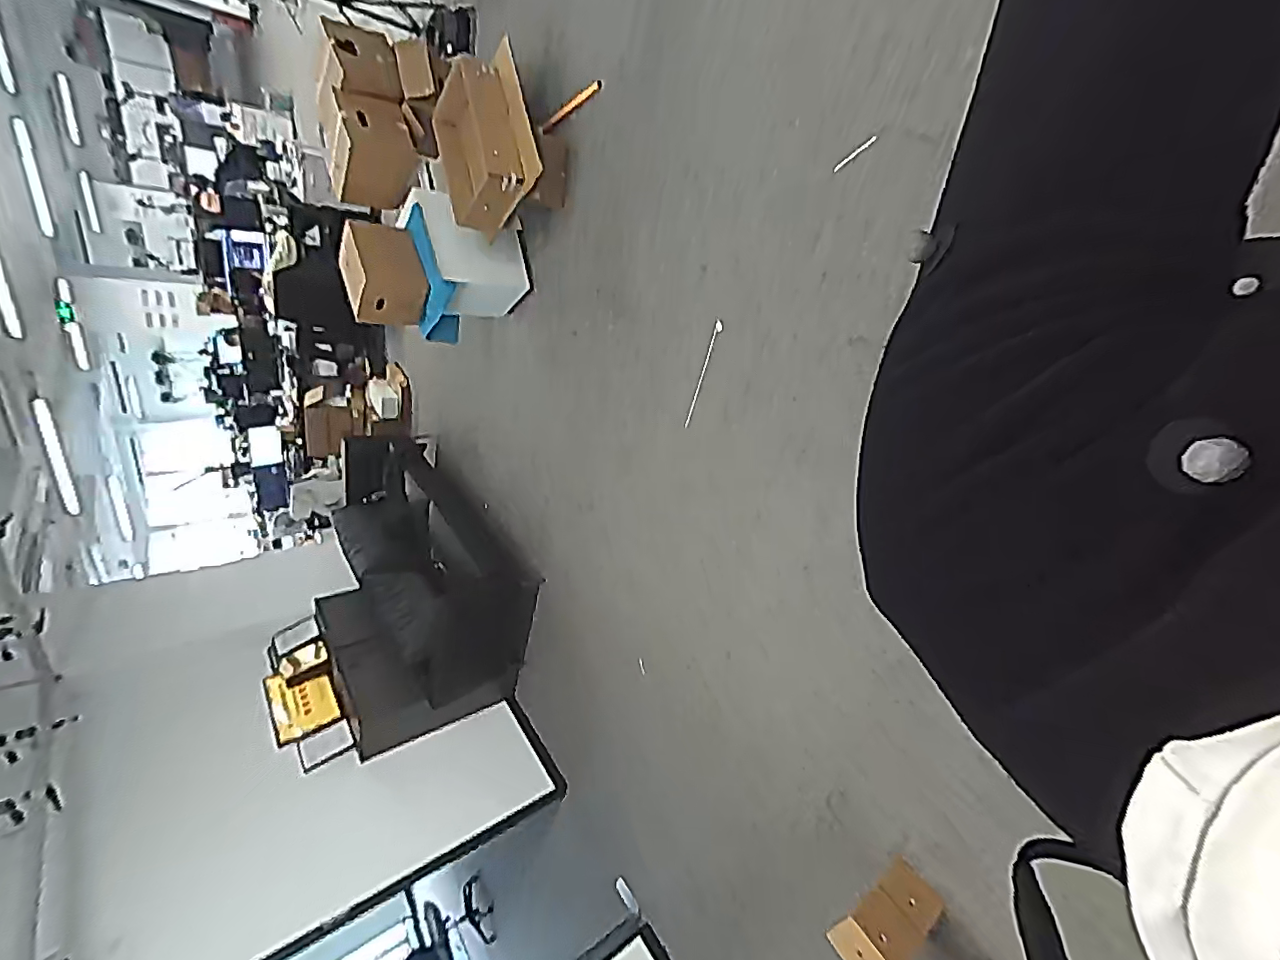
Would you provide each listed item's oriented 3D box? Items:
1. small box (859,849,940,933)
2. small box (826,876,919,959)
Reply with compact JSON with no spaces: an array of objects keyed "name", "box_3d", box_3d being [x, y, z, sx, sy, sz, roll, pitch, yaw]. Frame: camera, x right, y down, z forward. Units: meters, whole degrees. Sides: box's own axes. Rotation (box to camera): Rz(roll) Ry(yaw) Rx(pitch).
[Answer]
[{"name":"small box","box_3d":[0.853,1.385,1.795,0.179,0.176,0.168,44,129,36]},{"name":"small box","box_3d":[0.729,1.398,1.689,0.179,0.176,0.168,46,131,36]}]
